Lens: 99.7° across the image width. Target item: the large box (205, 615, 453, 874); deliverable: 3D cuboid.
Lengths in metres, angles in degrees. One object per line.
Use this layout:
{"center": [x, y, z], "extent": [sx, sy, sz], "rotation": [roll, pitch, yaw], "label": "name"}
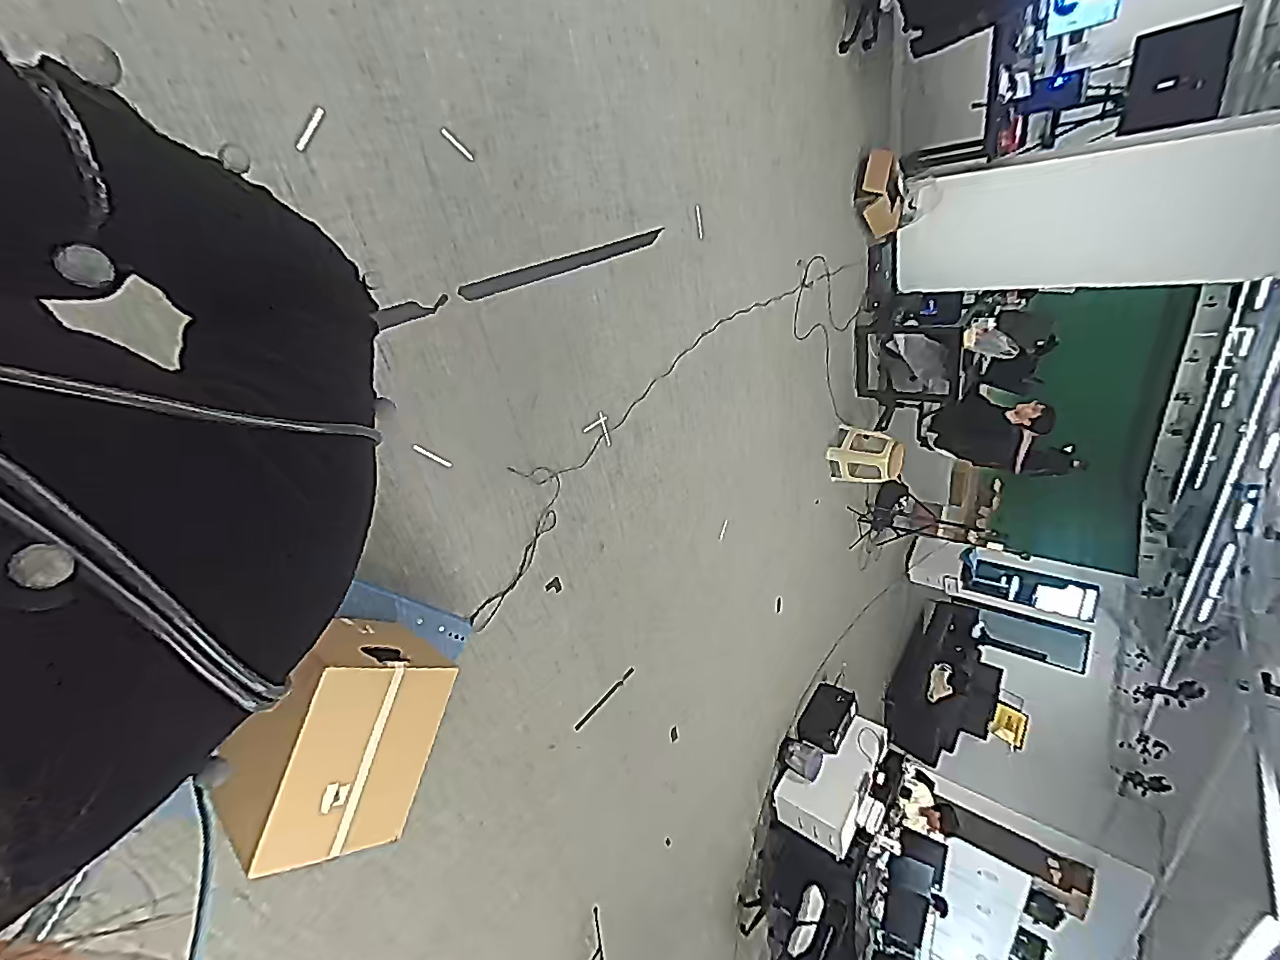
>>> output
{"center": [-0.694, 0.550, 1.220], "extent": [0.320, 0.320, 0.408], "rotation": [25, 81, -50], "label": "large box"}
